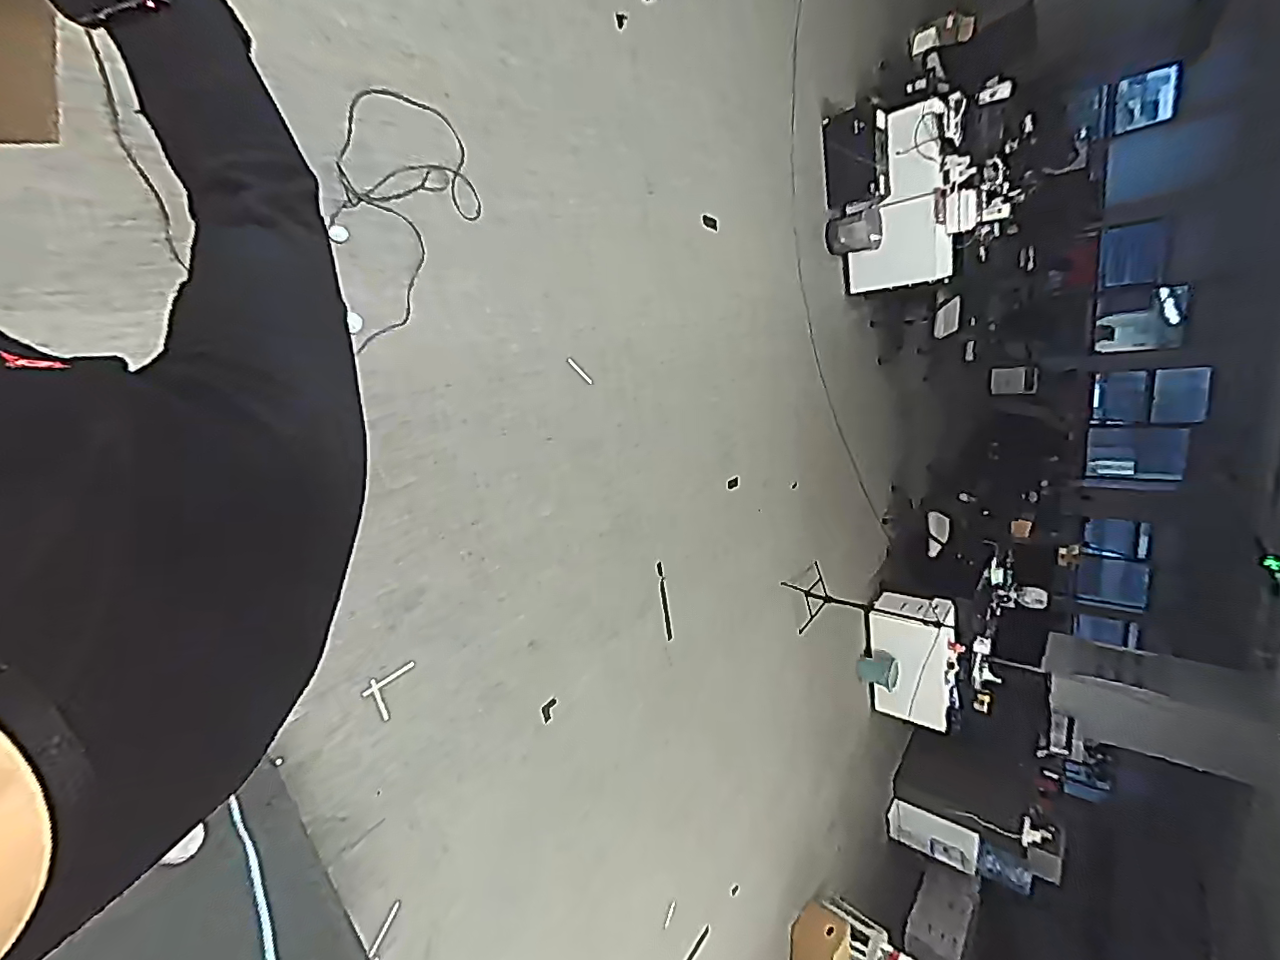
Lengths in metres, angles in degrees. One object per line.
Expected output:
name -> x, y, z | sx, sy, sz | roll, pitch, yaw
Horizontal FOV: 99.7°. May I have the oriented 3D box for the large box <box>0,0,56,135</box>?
large box -> -0.616, -0.382, 0.242 | 0.408, 0.320, 0.320 | -32, 115, -41
